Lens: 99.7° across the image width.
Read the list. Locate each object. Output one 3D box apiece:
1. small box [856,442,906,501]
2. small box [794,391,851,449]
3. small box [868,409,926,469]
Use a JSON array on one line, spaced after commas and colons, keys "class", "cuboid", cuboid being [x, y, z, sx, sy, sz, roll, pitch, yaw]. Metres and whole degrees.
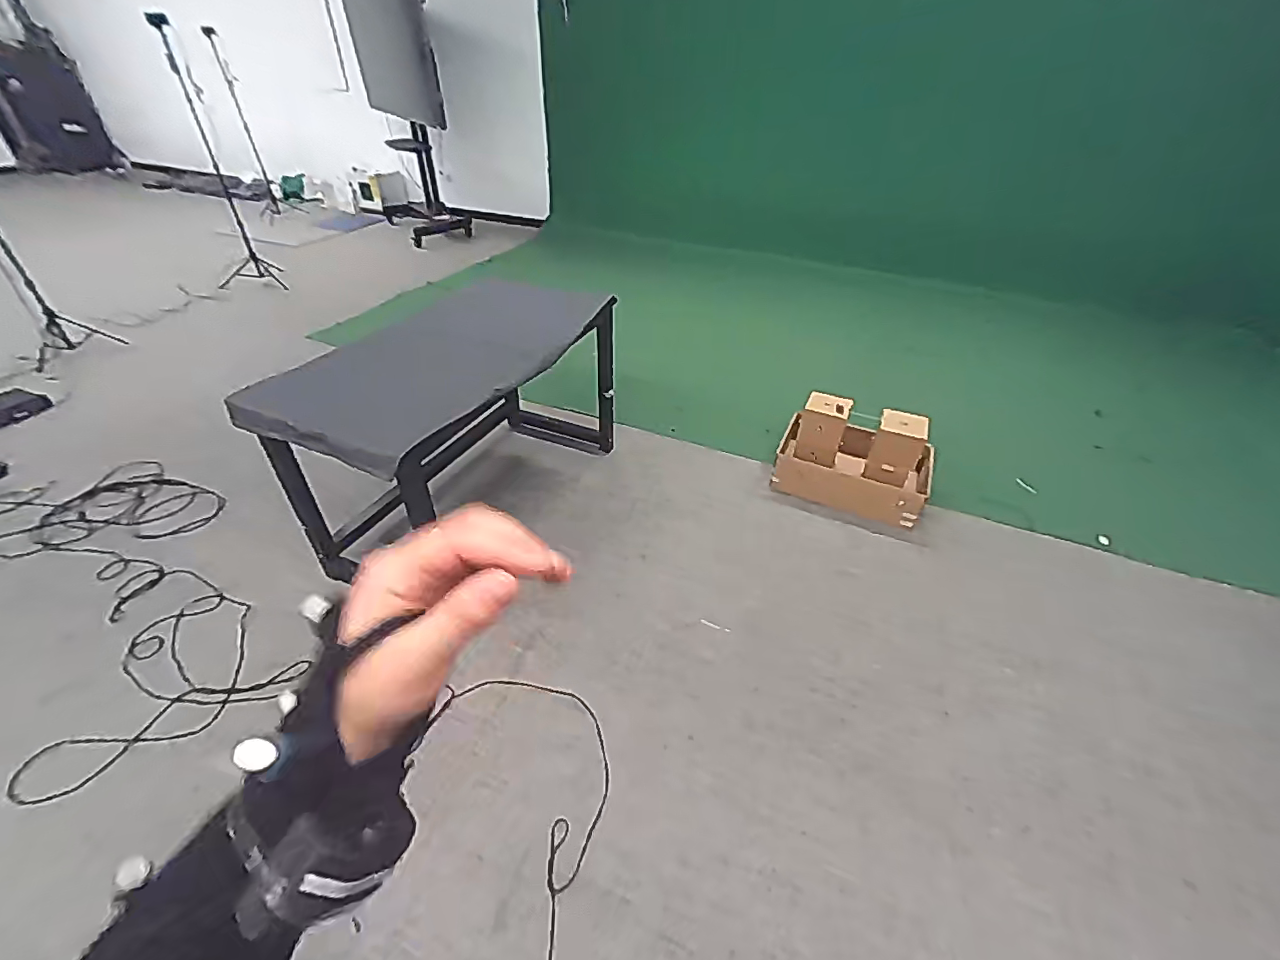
[{"class": "small box", "cuboid": [1.036, -0.036, 2.312, 0.168, 0.176, 0.179, 18, 43, 20]}, {"class": "small box", "cuboid": [0.776, -0.252, 2.301, 0.179, 0.176, 0.168, 18, 42, 19]}, {"class": "small box", "cuboid": [1.048, -0.165, 2.213, 0.179, 0.176, 0.168, 17, 43, 17]}]
